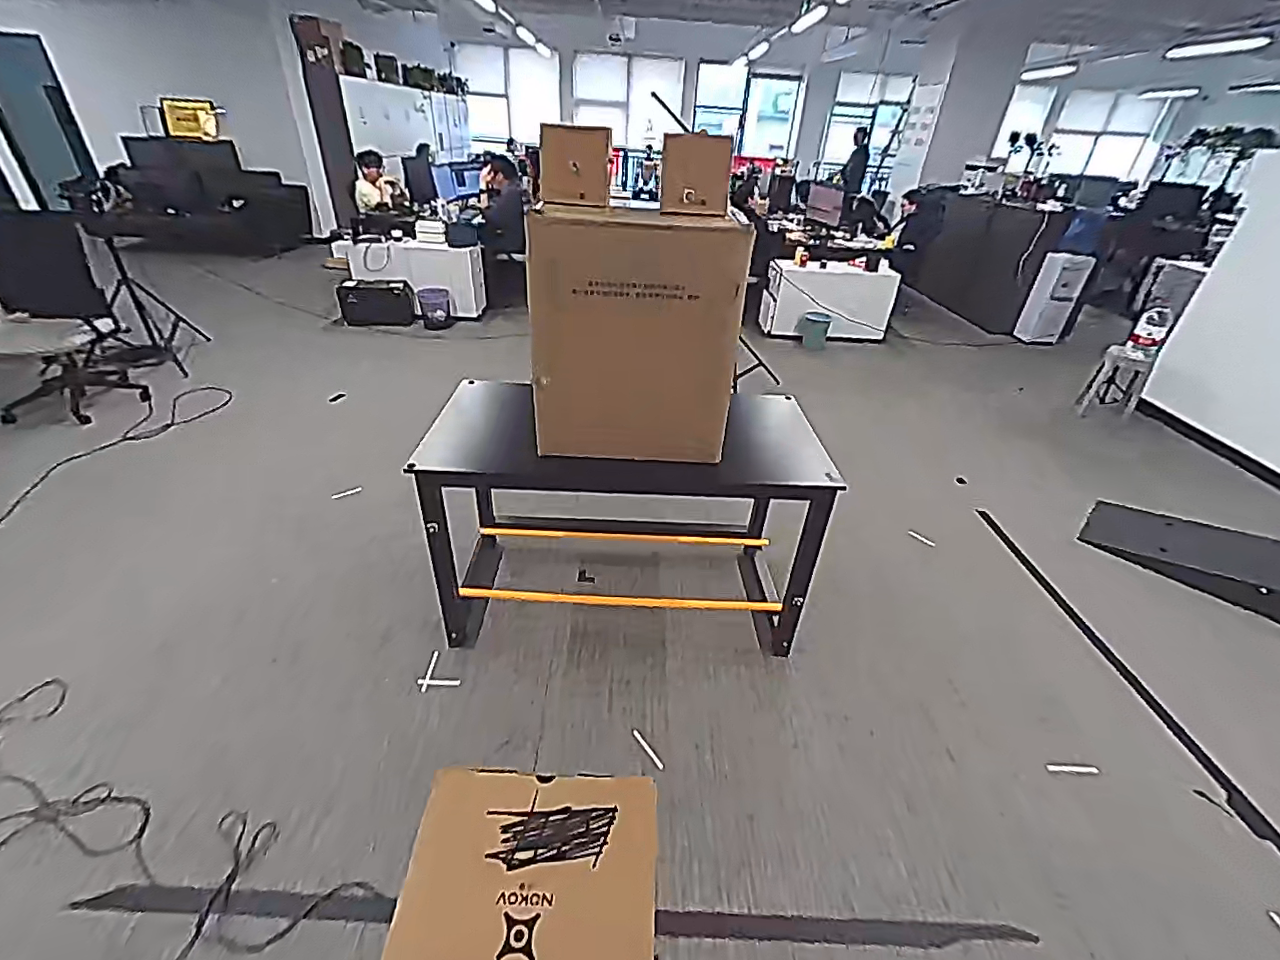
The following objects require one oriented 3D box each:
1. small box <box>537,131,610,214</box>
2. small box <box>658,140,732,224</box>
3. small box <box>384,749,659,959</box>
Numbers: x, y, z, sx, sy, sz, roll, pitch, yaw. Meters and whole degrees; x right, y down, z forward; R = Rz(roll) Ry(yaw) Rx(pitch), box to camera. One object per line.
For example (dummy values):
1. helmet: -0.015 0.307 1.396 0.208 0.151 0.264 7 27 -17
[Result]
1. small box: -0.164 -0.782 1.375 0.168 0.176 0.179 3 32 -3
2. small box: 0.130 -0.746 1.352 0.168 0.176 0.179 2 32 0
3. small box: -0.073 0.328 0.402 0.168 0.176 0.179 2 41 1
